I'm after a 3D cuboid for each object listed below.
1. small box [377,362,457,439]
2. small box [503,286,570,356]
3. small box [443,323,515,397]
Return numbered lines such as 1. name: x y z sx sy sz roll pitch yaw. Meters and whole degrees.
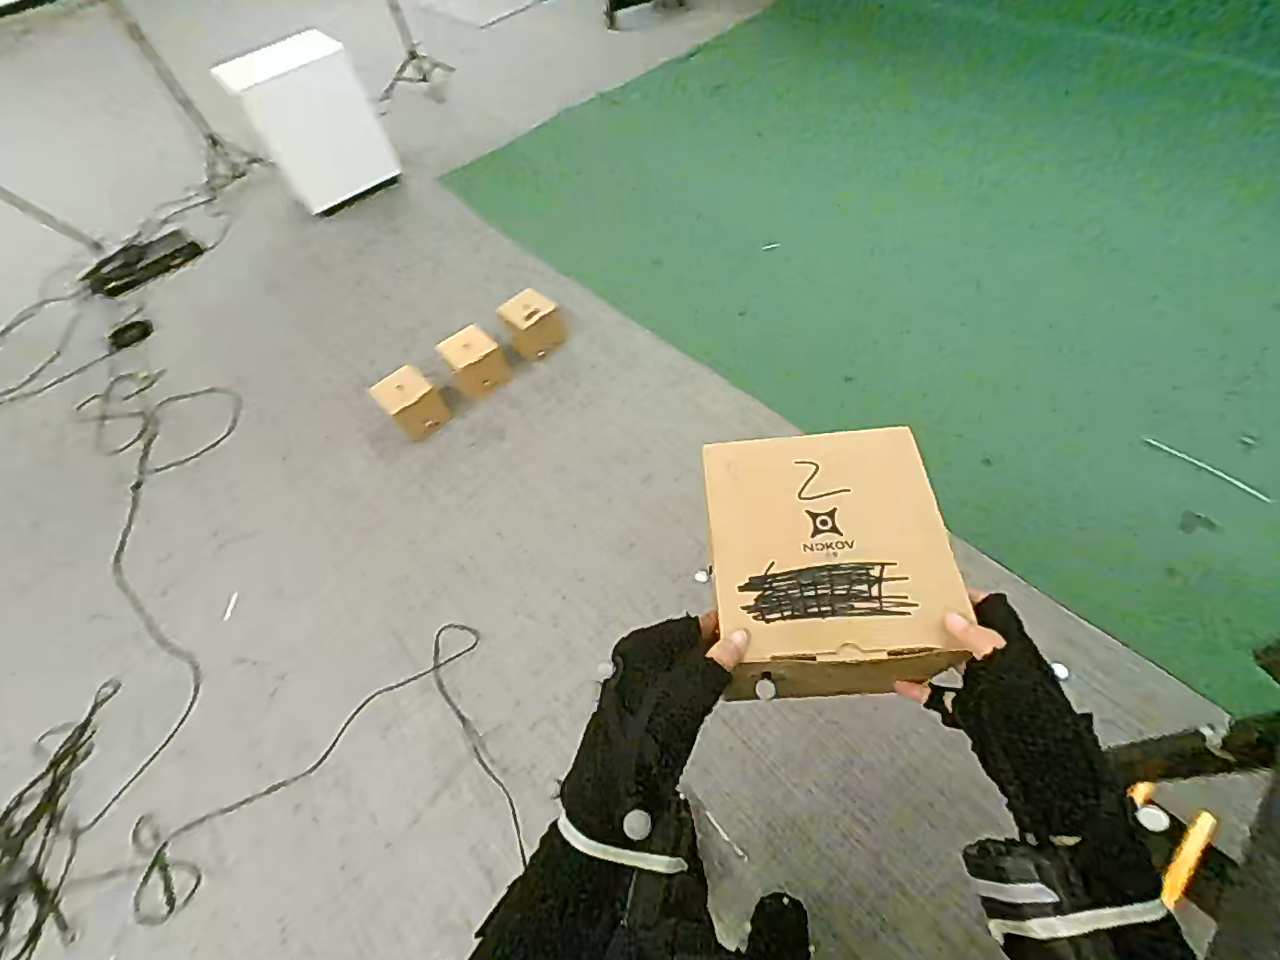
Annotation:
1. small box: -0.789 -0.279 1.922 0.168 0.176 0.179 -40 62 -16
2. small box: -0.392 -0.603 2.080 0.168 0.176 0.179 -41 61 -18
3. small box: -0.591 -0.440 2.002 0.168 0.176 0.179 -38 61 -17
